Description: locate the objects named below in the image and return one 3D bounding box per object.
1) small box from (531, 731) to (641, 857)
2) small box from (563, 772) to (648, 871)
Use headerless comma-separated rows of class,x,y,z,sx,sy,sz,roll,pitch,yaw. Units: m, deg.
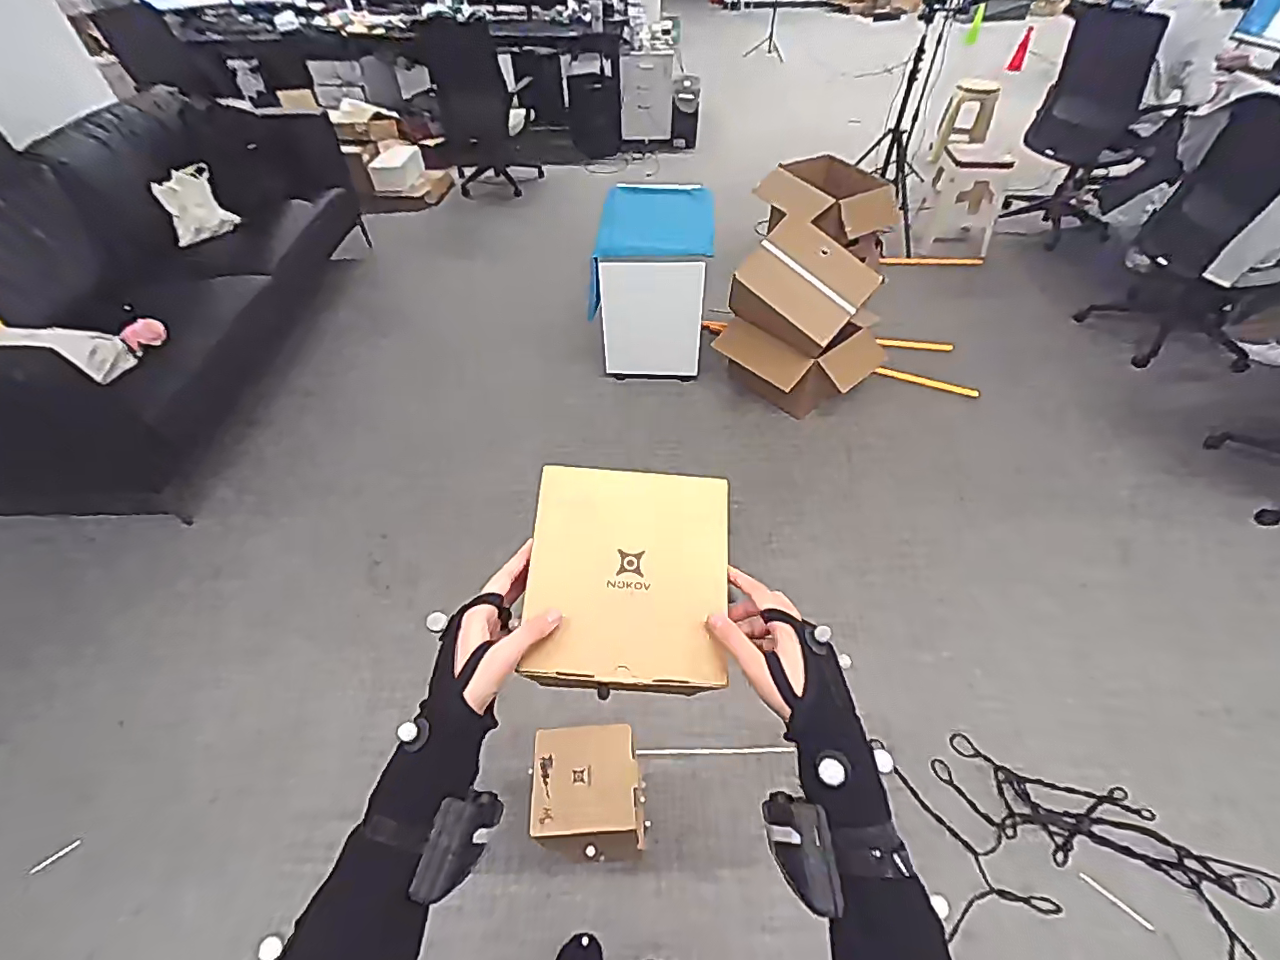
small box,-0.089,0.565,0.970,0.179,0.176,0.168,-3,48,-1
small box,-0.073,0.774,1.223,0.179,0.176,0.168,-2,48,0
